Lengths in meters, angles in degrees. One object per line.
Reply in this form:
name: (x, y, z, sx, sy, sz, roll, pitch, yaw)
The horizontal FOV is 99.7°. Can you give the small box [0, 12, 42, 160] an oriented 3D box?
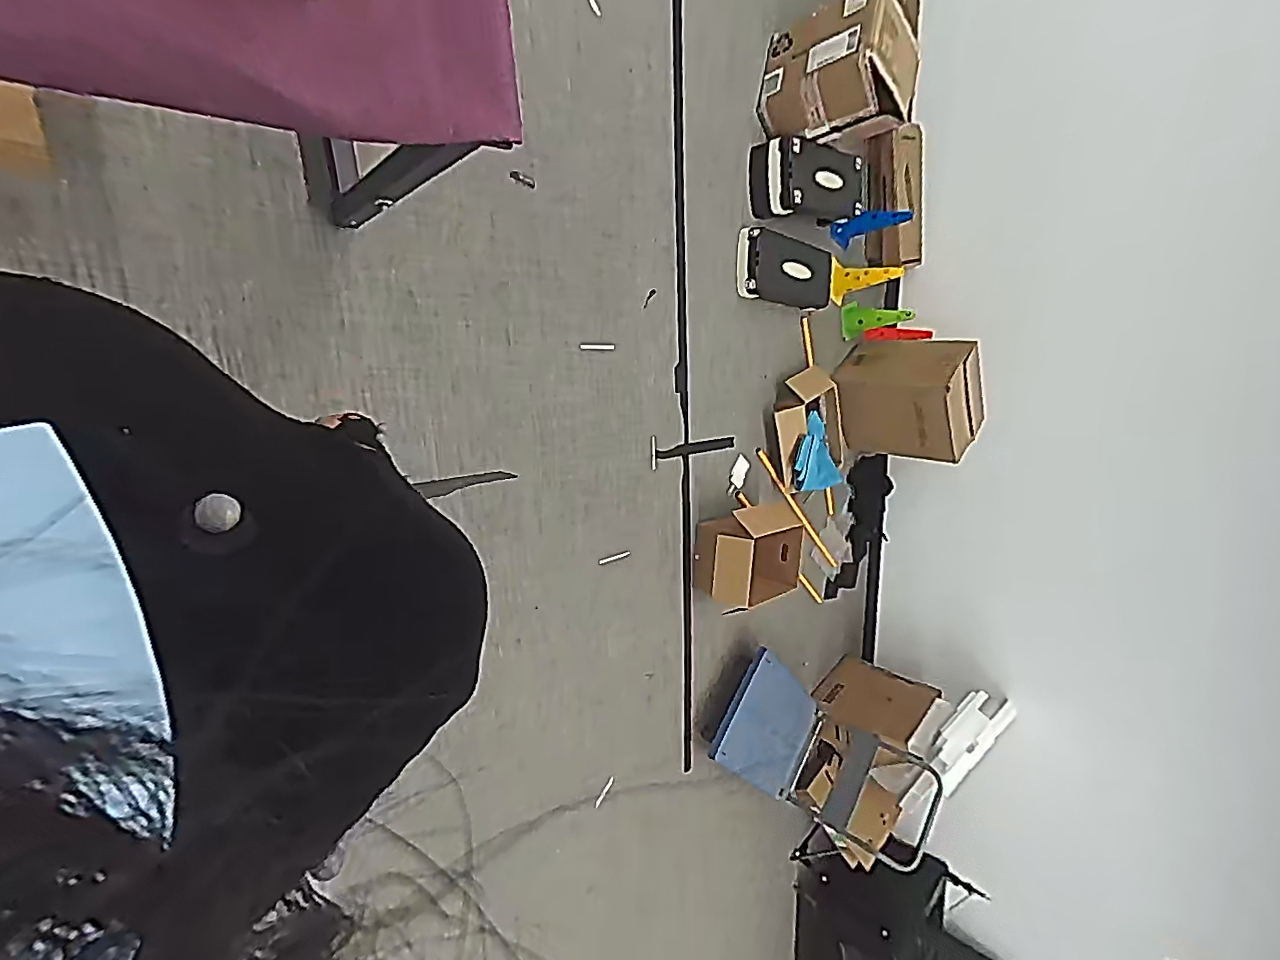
small box: (-1.089, -0.637, 0.856, 0.168, 0.176, 0.179, -12, 106, -43)
